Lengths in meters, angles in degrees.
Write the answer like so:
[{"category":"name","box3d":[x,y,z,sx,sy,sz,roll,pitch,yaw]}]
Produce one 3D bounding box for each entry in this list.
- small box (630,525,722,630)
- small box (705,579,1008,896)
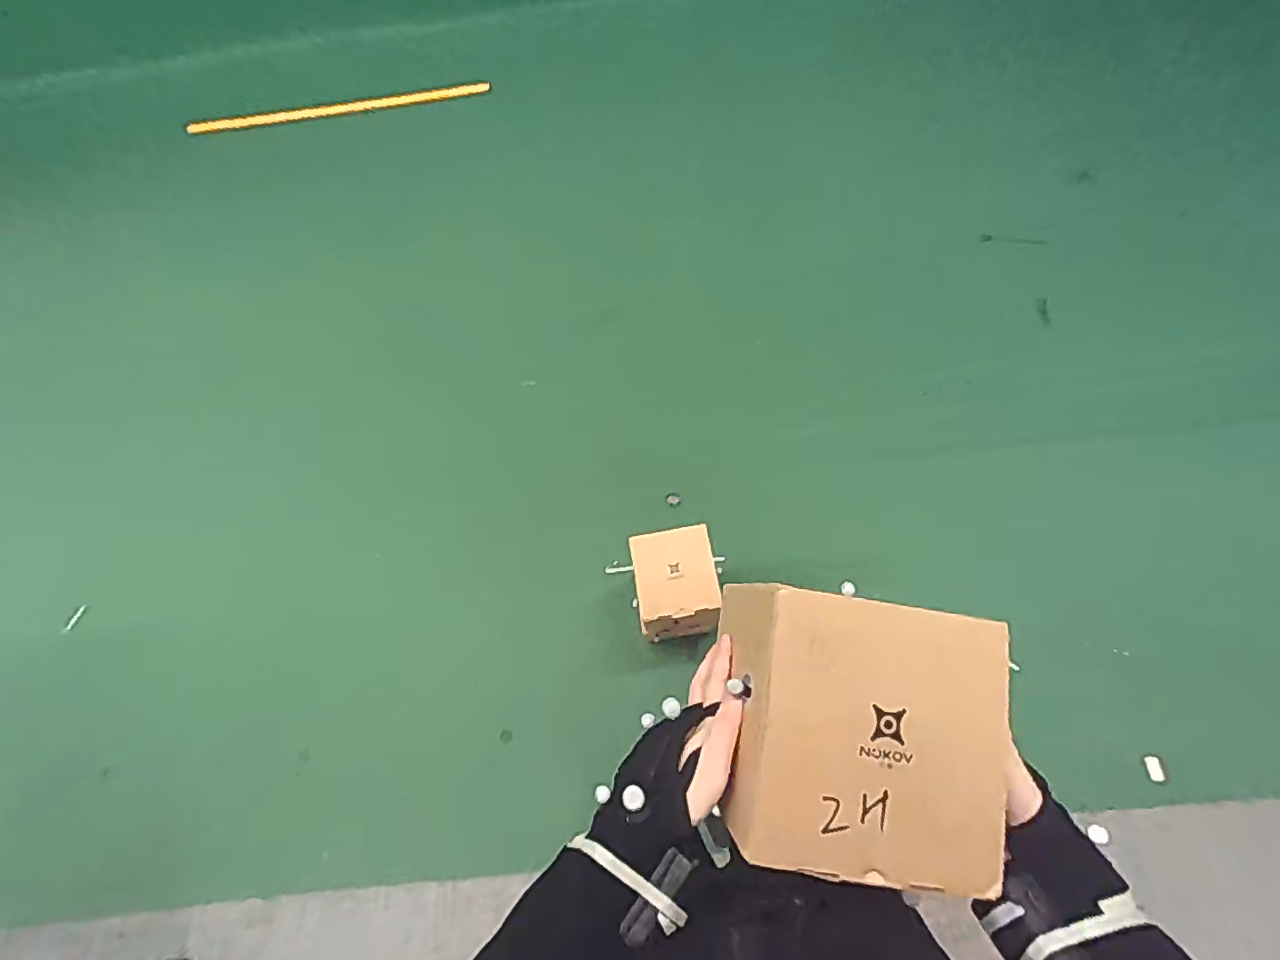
[{"category":"small box","box3d":[0.073,0.215,1.163,0.168,0.176,0.179,-10,68,-1]},{"category":"small box","box3d":[0.154,0.181,0.431,0.168,0.176,0.179,9,78,-2]}]
